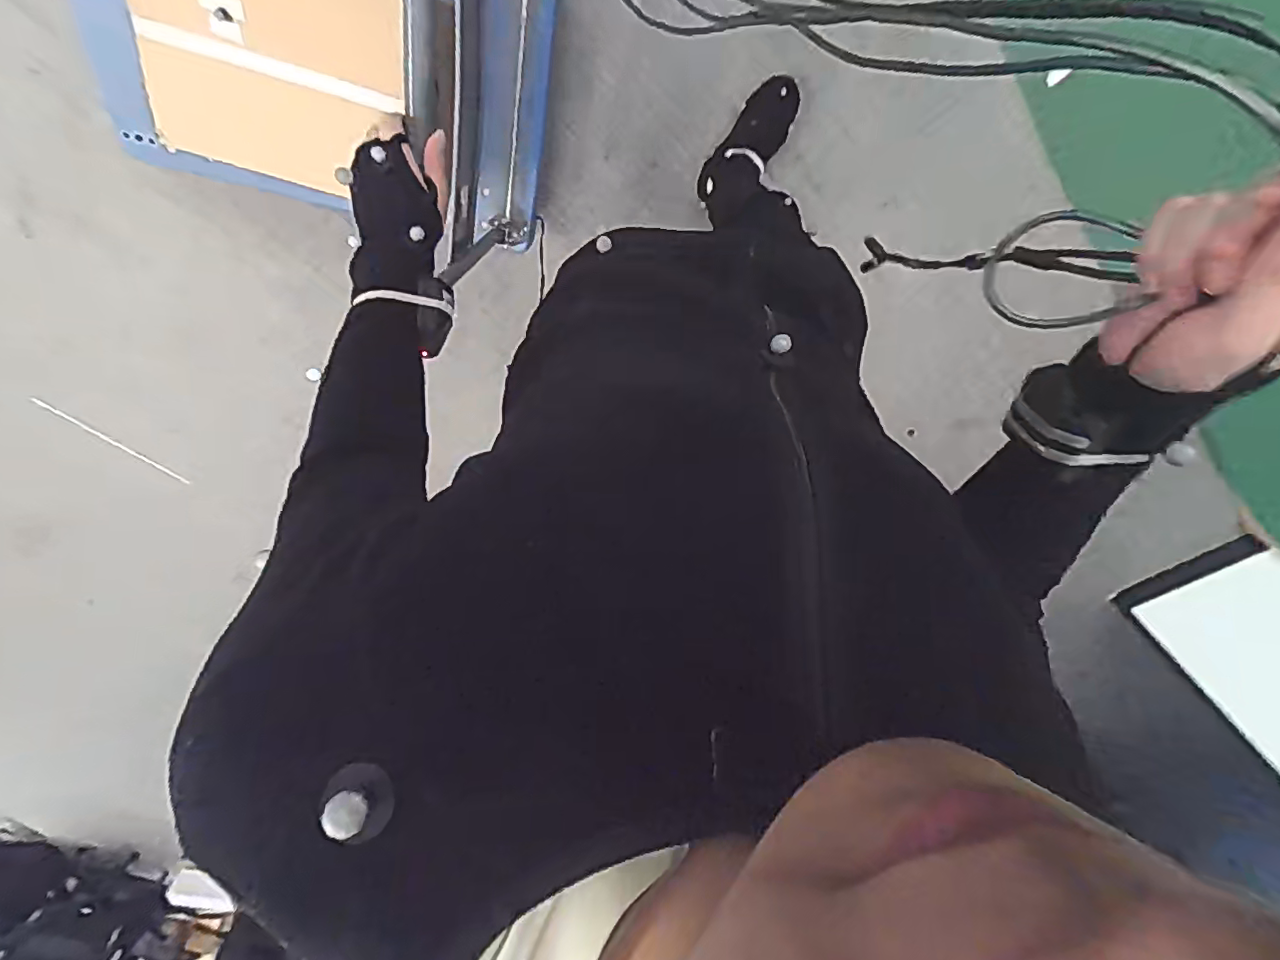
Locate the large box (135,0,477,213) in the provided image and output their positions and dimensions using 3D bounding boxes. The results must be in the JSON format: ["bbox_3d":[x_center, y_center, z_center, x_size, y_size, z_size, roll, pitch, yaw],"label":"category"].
[{"bbox_3d":[-0.526,-0.703,0.931,0.408,0.320,0.320,14,125,-7],"label":"large box"}]
